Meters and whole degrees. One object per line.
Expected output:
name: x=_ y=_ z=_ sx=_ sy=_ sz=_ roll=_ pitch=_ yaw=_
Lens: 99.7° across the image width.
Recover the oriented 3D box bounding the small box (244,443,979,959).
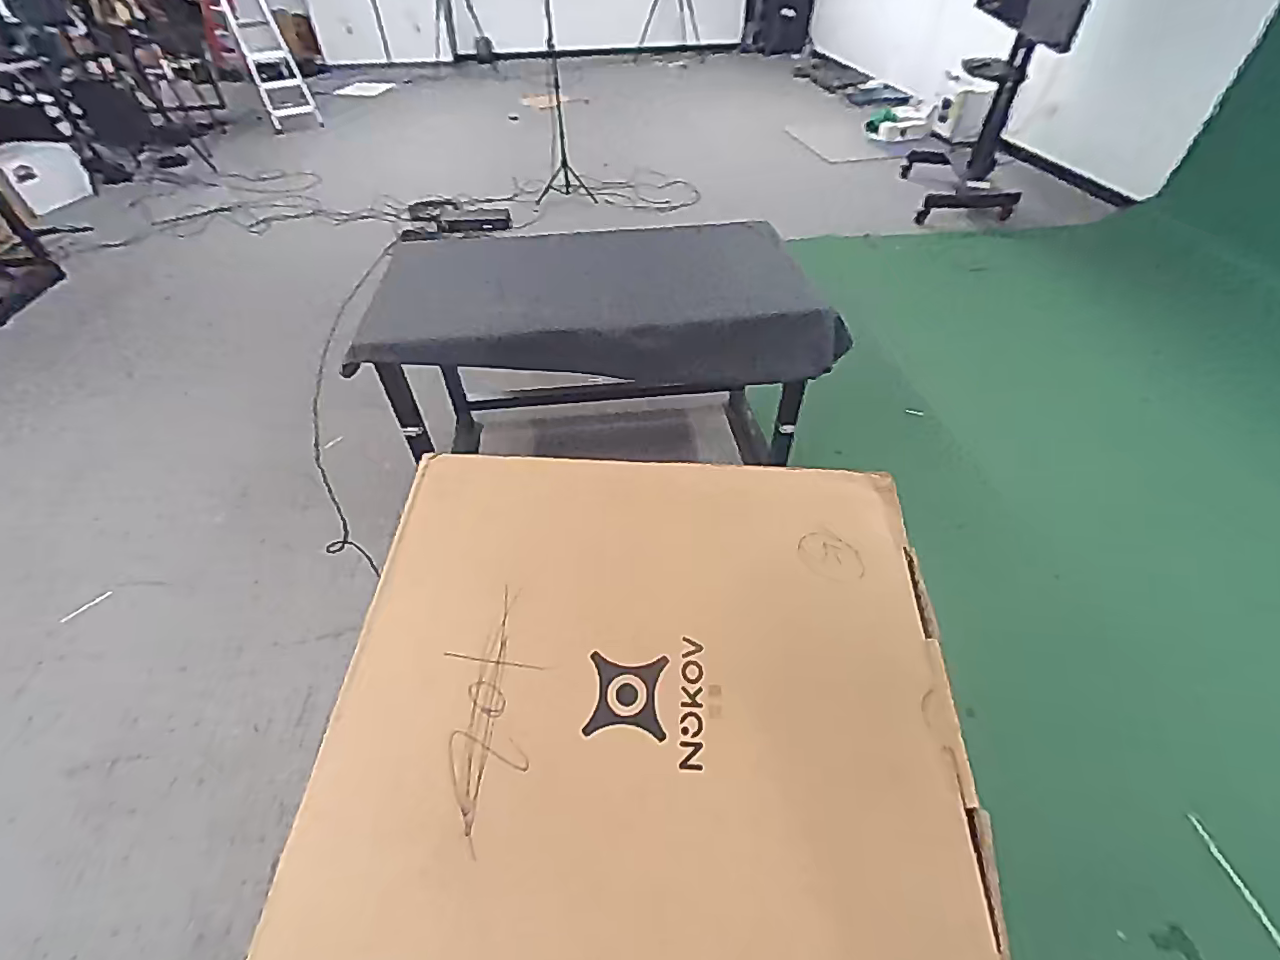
small box: x=-0.002 y=0.101 z=0.231 sx=0.179 sy=0.176 sz=0.168 roll=1 pitch=55 yaw=3
